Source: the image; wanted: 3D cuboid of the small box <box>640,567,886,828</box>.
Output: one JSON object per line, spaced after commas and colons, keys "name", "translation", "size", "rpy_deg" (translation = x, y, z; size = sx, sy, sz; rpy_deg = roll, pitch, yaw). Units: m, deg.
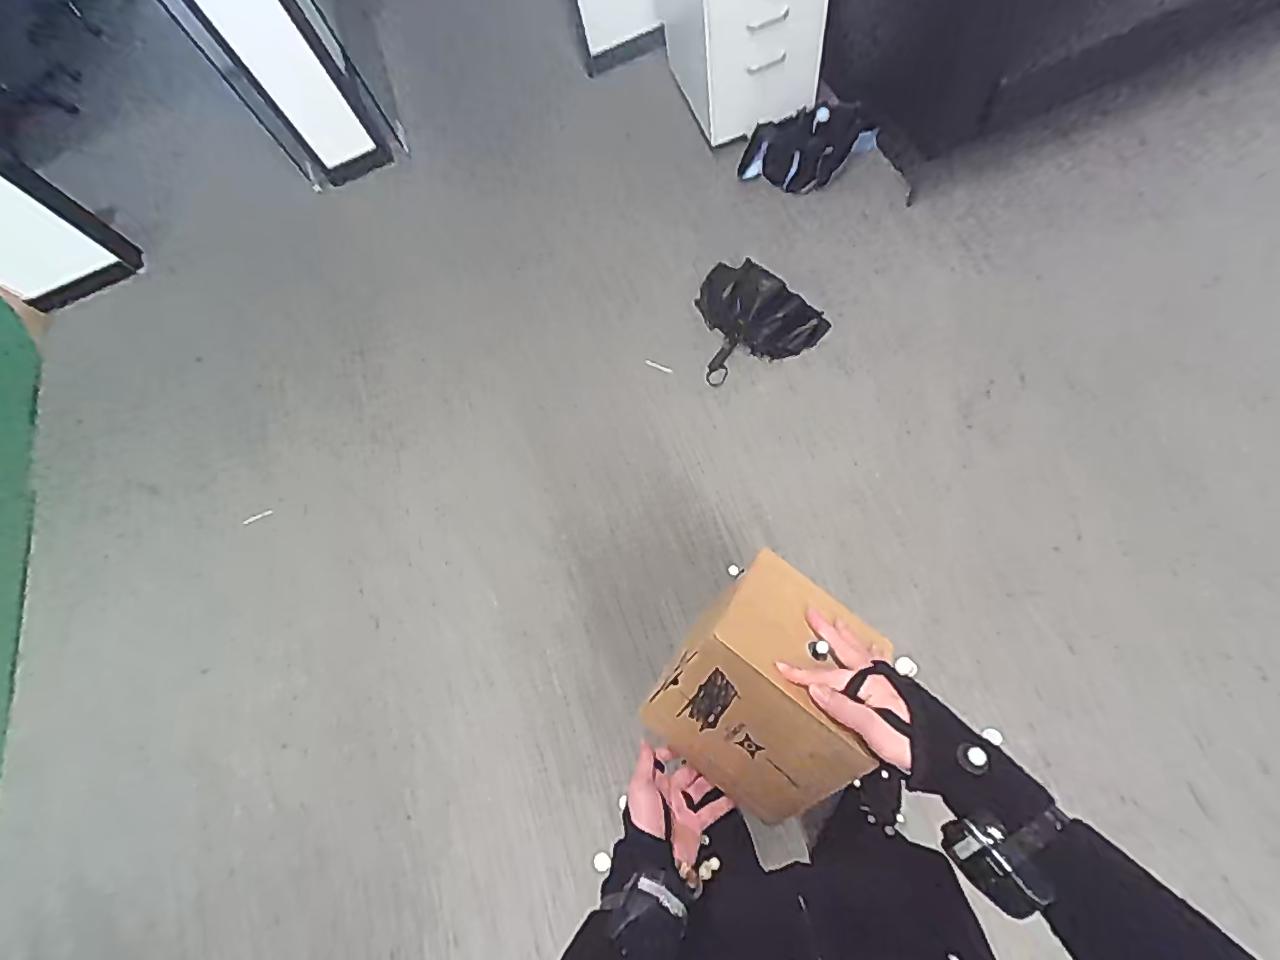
{"name": "small box", "translation": [0.136, 0.219, 0.584], "size": [0.179, 0.168, 0.176], "rpy_deg": [37, 37, 8]}
